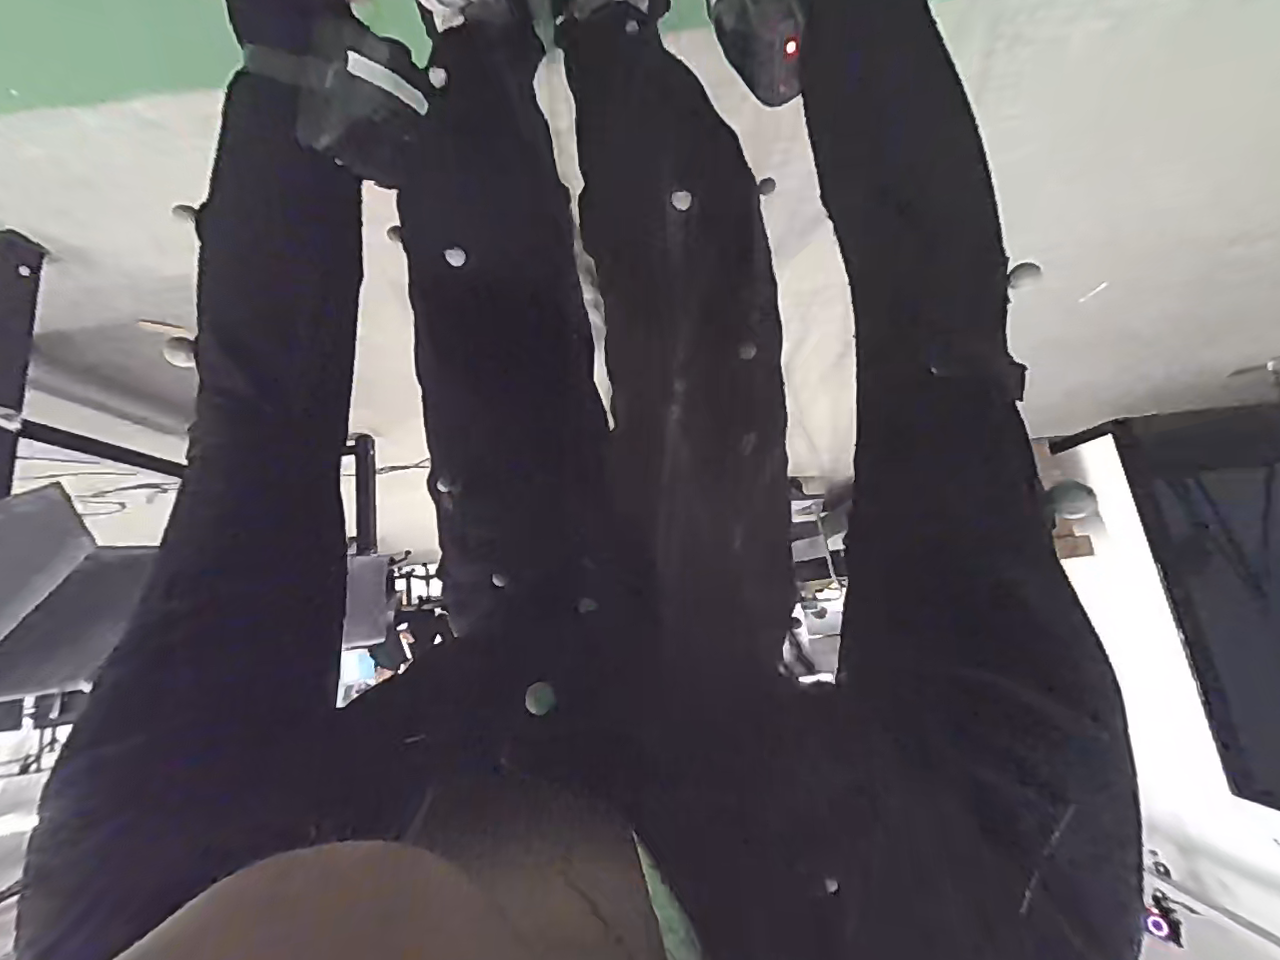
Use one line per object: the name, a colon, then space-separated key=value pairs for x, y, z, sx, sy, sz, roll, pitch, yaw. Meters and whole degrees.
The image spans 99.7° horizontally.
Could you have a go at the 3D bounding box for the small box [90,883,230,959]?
small box: x=-1.023 y=1.002 z=1.162 sx=0.168 sy=0.176 sz=0.179 roll=-8 pitch=167 yaw=0
